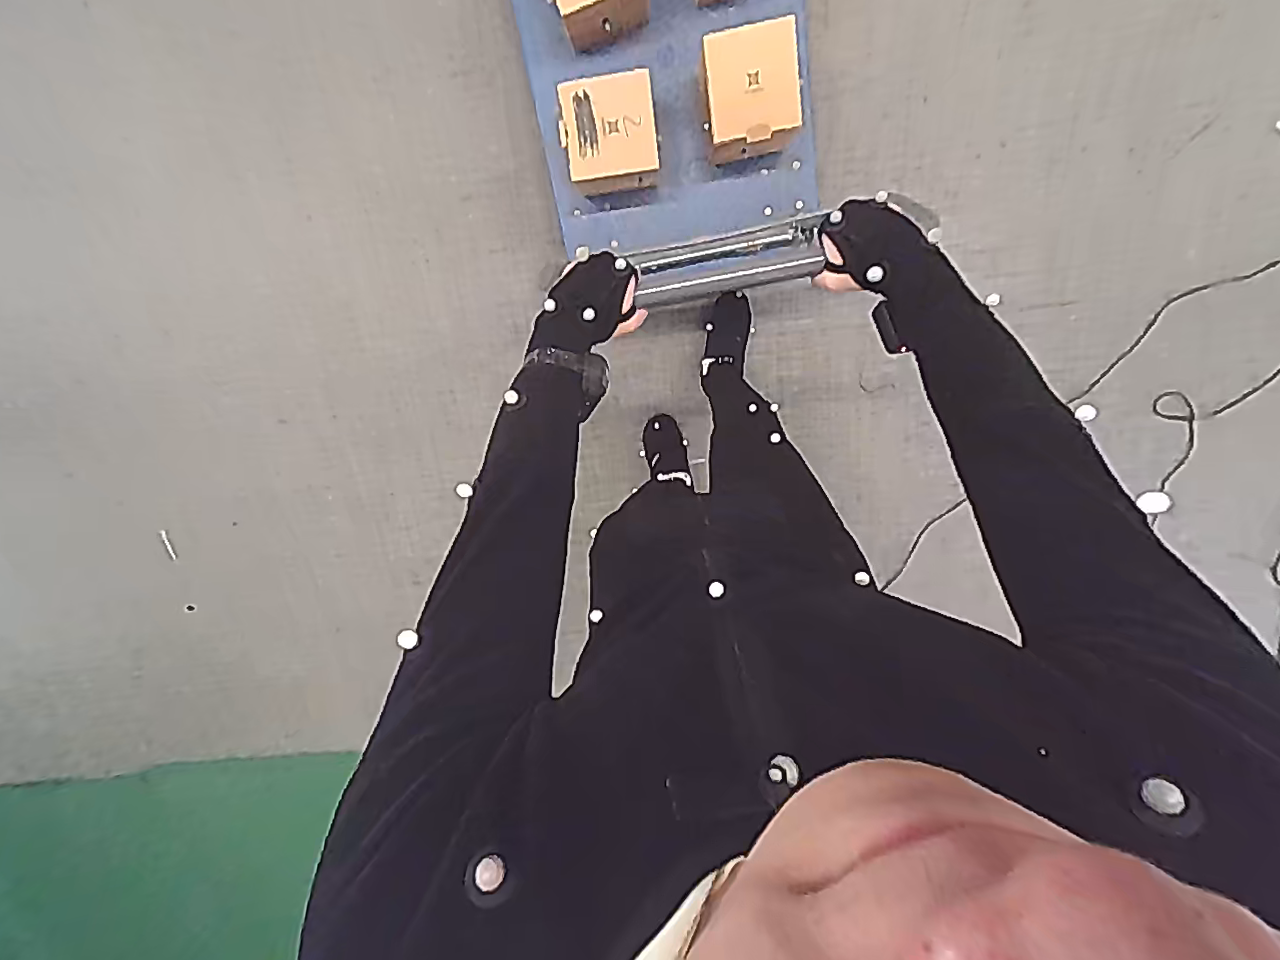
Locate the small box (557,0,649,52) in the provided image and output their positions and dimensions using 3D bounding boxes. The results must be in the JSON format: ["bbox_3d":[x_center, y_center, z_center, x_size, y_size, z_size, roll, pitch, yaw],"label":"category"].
[{"bbox_3d":[-0.083,-0.948,1.013,0.168,0.176,0.179,-17,107,7],"label":"small box"}]

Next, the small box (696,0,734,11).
[{"bbox_3d":[0.167,-1.015,0.980,0.168,0.176,0.179,-16,108,8],"label":"small box"}]

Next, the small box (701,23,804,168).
[{"bbox_3d":[0.217,-0.748,1.070,0.168,0.176,0.179,-9,108,6],"label":"small box"}]
